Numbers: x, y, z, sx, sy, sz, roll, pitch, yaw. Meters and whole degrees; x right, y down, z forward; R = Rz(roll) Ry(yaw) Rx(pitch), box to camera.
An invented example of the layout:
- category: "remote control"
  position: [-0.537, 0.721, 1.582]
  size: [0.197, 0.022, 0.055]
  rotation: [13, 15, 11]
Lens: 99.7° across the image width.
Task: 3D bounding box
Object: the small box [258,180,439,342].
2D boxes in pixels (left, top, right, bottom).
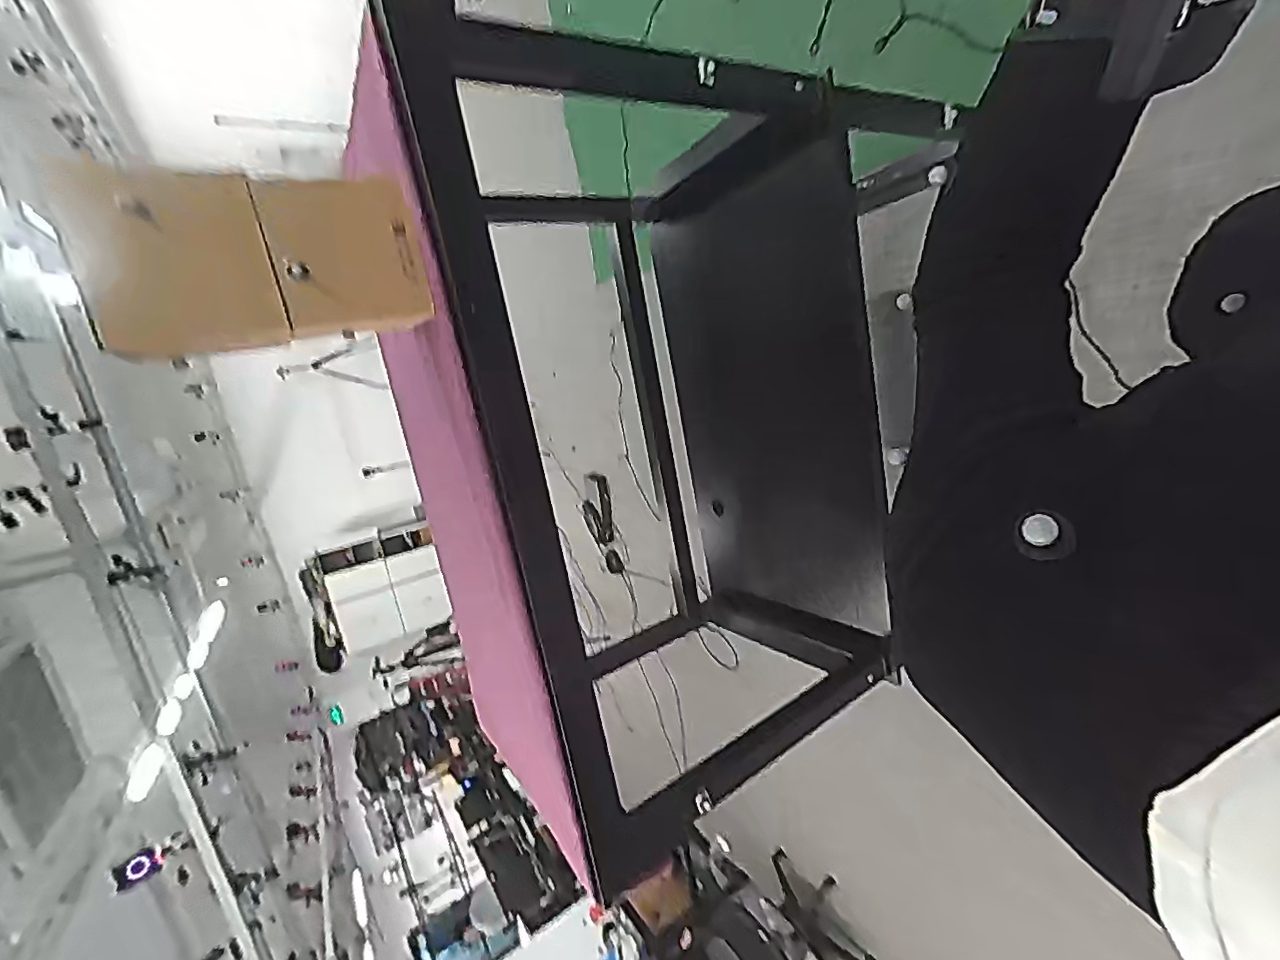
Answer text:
- category: "small box"
  position: [-0.383, -0.283, 0.723]
  size: [0.179, 0.176, 0.168]
  rotation: [13, 117, 56]
